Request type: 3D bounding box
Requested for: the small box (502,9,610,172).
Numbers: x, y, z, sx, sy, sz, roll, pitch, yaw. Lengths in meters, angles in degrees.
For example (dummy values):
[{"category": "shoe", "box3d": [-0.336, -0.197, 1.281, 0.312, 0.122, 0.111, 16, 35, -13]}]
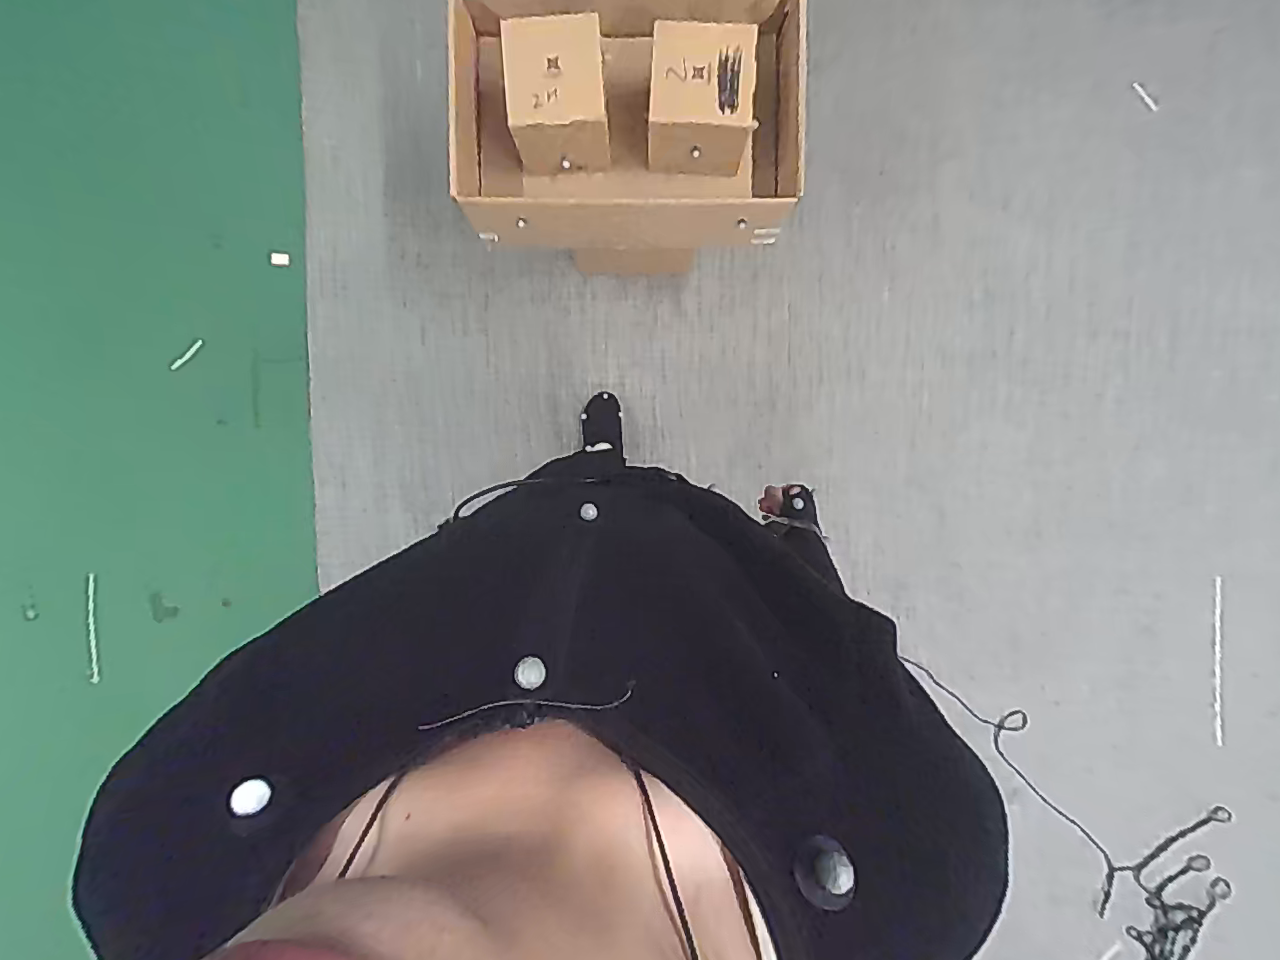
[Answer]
[{"category": "small box", "box3d": [-0.143, -0.689, 0.974, 0.168, 0.176, 0.179, -3, 93, 0]}]
